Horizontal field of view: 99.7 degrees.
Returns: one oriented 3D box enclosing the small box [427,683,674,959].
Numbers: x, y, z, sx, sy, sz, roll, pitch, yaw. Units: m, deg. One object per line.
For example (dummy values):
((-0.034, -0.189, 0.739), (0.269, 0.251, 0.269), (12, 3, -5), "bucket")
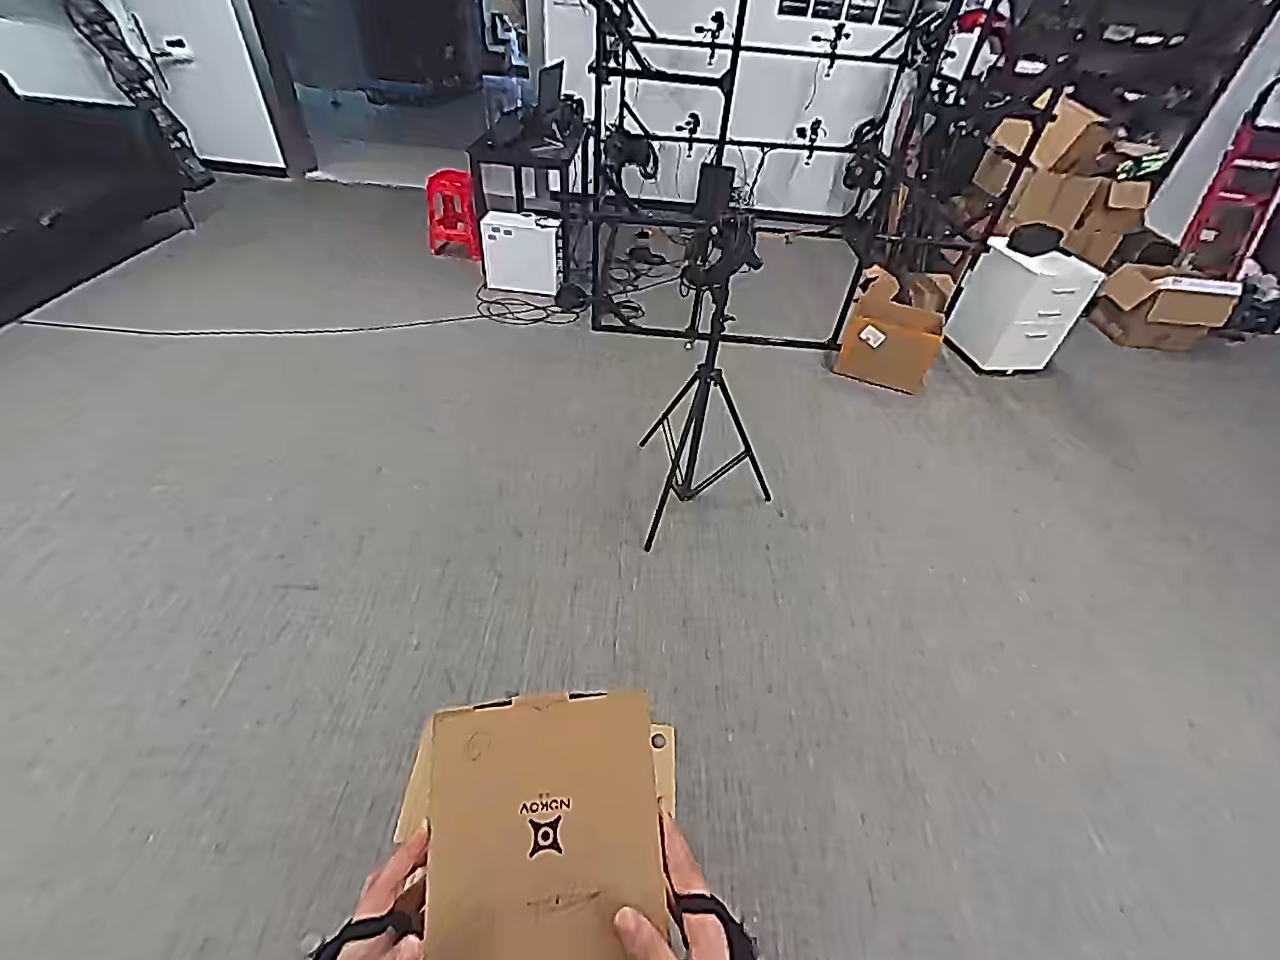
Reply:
((-0.069, 0.278, 0.461), (0.168, 0.176, 0.179), (-6, 68, -4), "small box")
